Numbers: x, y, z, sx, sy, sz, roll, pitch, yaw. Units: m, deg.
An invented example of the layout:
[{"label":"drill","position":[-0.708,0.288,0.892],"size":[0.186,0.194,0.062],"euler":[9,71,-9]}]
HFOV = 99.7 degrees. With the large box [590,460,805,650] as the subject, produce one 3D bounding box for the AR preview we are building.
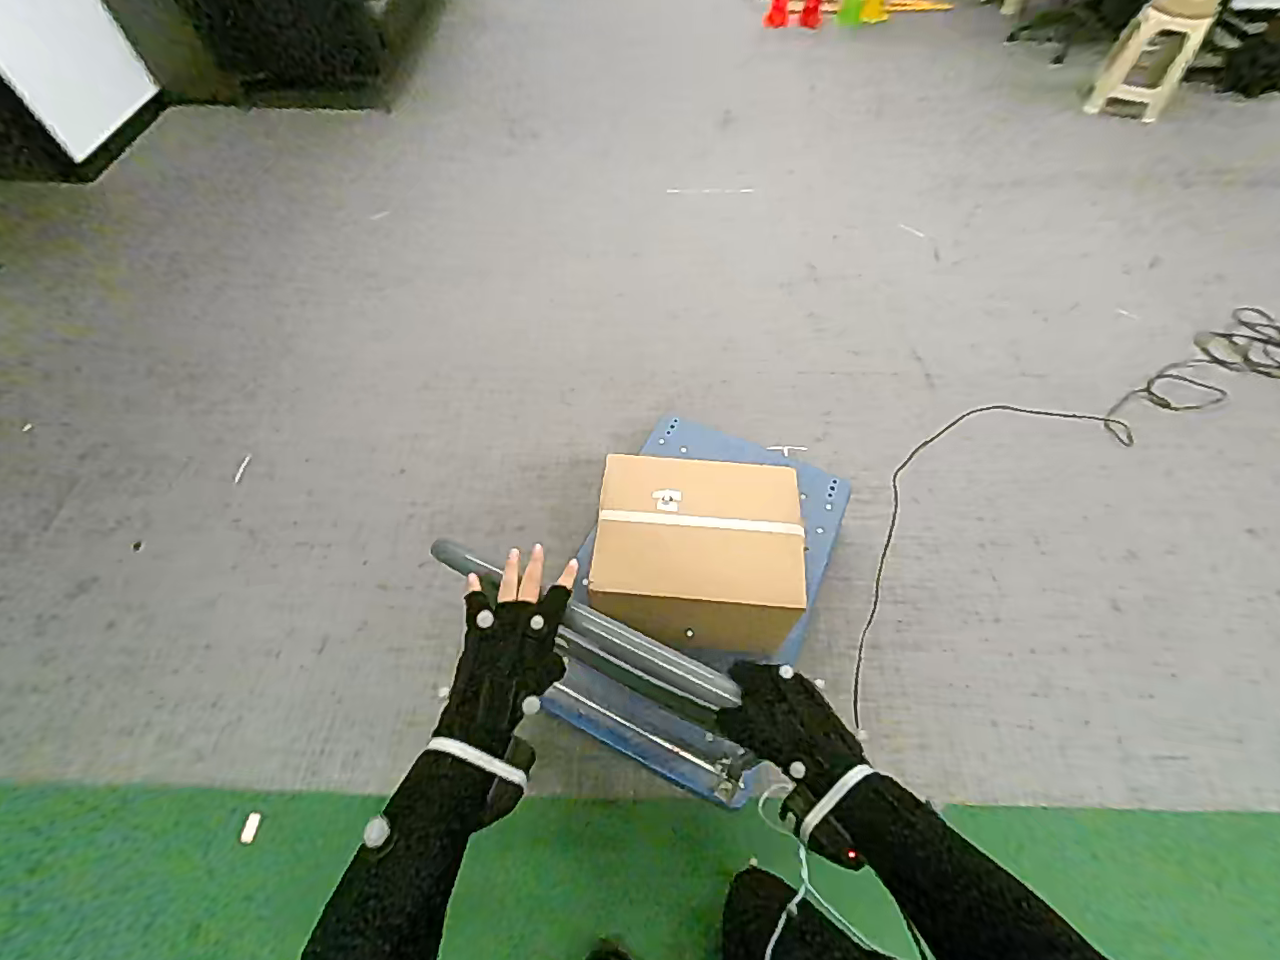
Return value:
[{"label":"large box","position":[0.120,0.175,1.197],"size":[0.408,0.320,0.320],"euler":[4,57,4]}]
